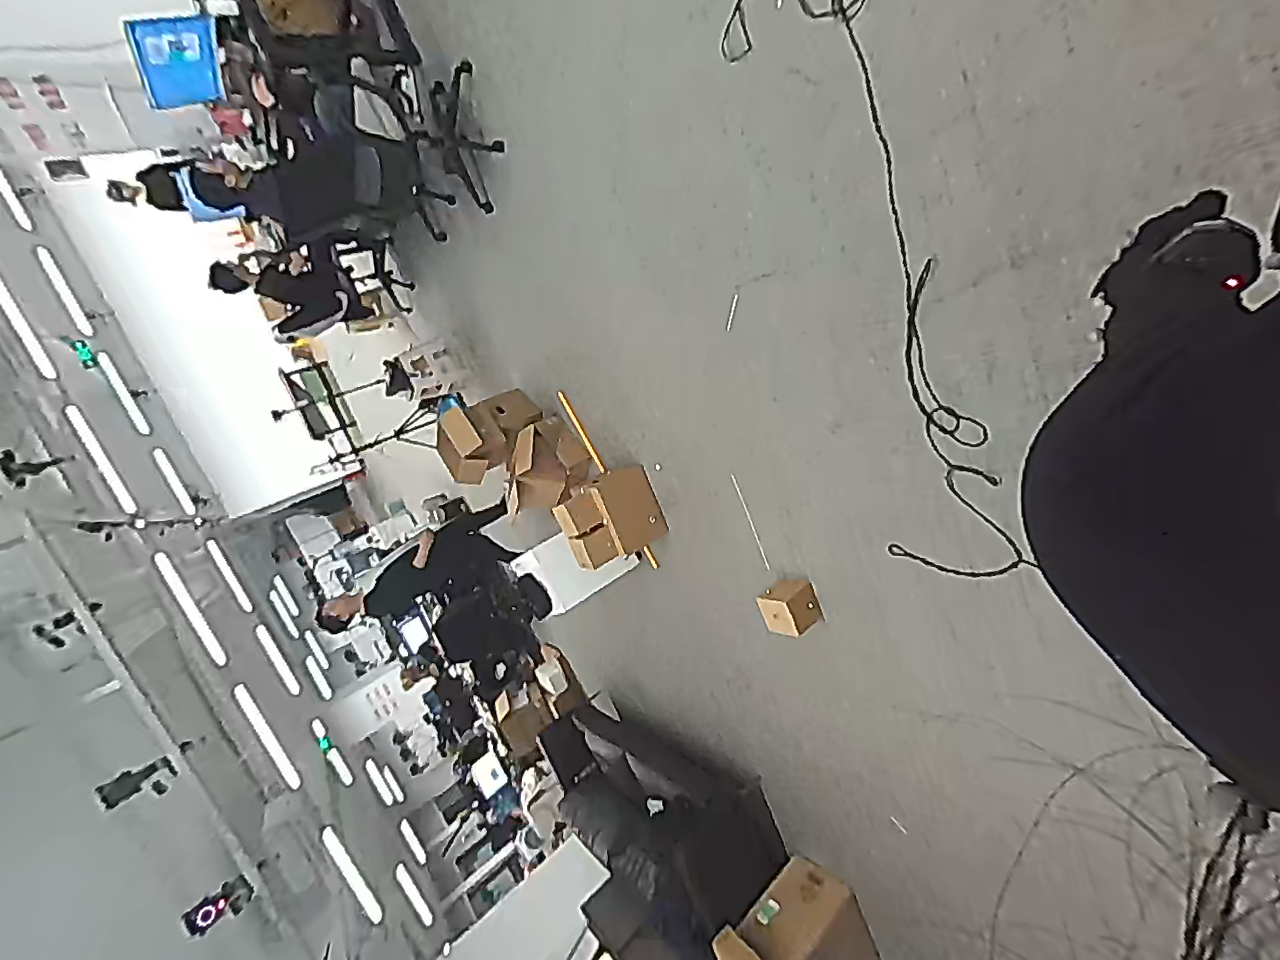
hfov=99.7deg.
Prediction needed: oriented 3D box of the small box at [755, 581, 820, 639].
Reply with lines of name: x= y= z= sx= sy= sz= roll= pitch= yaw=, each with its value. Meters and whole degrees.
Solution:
small box: x=0.627 y=0.544 z=2.289 sx=0.179 sy=0.176 sz=0.168 roll=-9 pitch=108 yaw=58
